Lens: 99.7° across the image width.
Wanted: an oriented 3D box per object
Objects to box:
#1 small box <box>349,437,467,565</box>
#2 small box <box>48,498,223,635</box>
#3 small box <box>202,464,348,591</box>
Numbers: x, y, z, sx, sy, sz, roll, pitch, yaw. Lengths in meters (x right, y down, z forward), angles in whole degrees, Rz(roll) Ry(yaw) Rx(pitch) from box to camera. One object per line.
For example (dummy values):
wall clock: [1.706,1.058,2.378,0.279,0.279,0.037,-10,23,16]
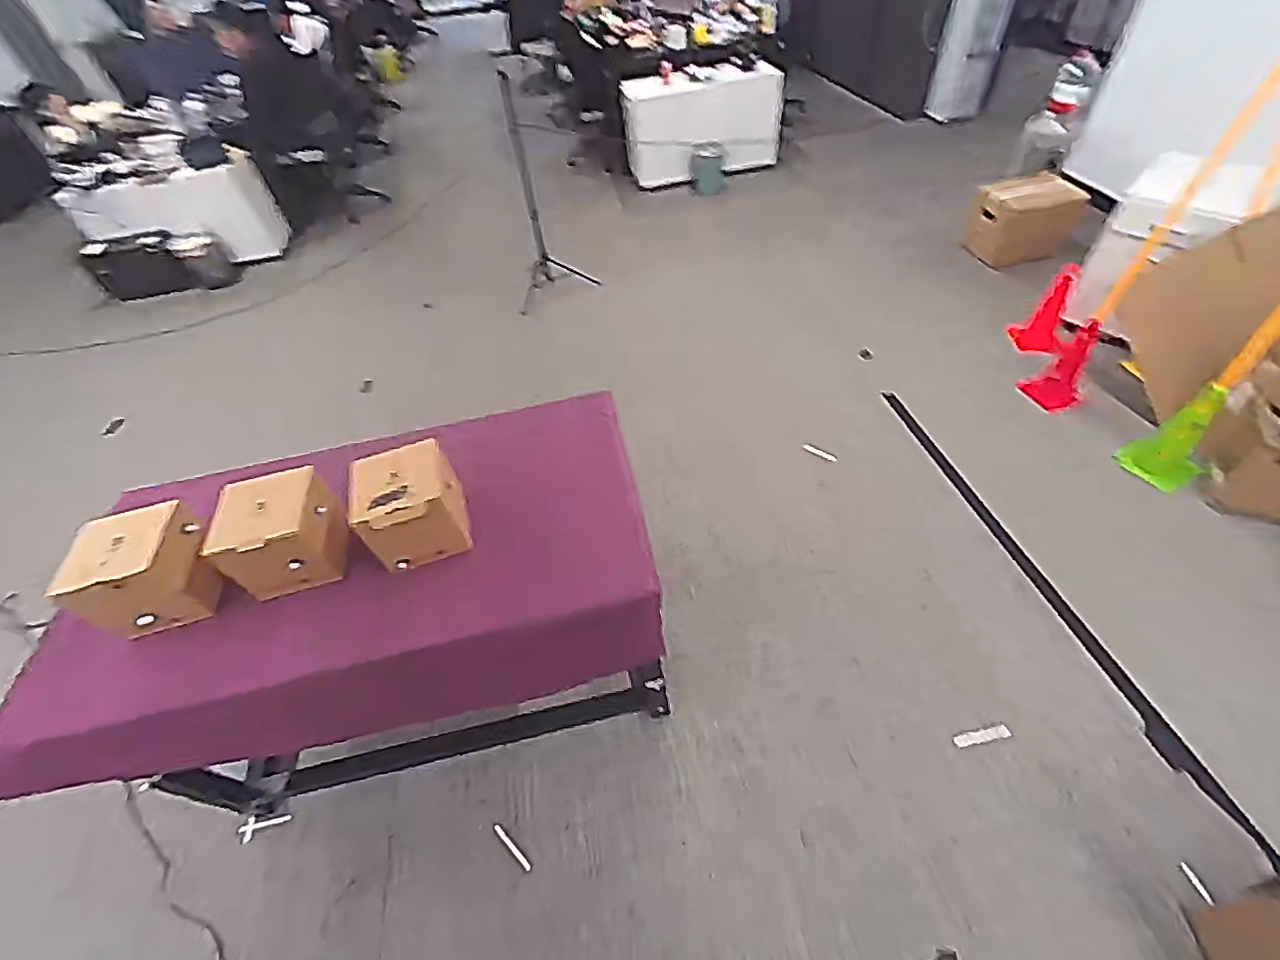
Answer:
small box: [-0.460,0.049,1.088,0.168,0.176,0.179,-18,49,-9]
small box: [-0.947,0.168,1.044,0.168,0.176,0.179,-16,49,-6]
small box: [-0.708,0.102,1.075,0.168,0.176,0.179,-14,48,-6]
